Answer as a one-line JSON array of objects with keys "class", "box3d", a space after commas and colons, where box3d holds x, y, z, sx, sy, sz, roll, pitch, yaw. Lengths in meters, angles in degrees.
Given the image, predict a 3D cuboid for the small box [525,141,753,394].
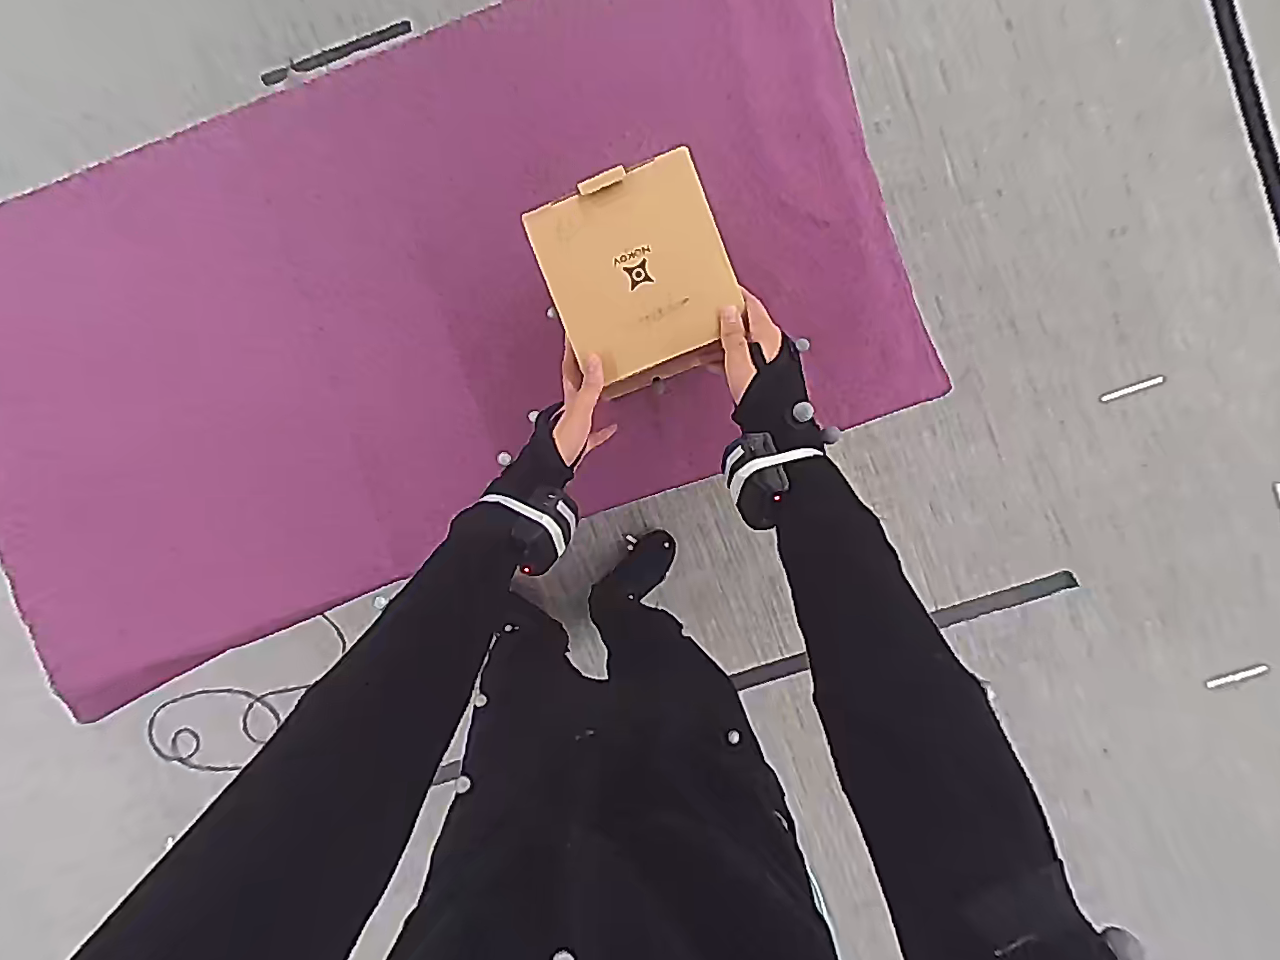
[{"class": "small box", "box3d": [0.001, -0.201, 0.568, 0.168, 0.176, 0.179, -20, 94, 4]}]
